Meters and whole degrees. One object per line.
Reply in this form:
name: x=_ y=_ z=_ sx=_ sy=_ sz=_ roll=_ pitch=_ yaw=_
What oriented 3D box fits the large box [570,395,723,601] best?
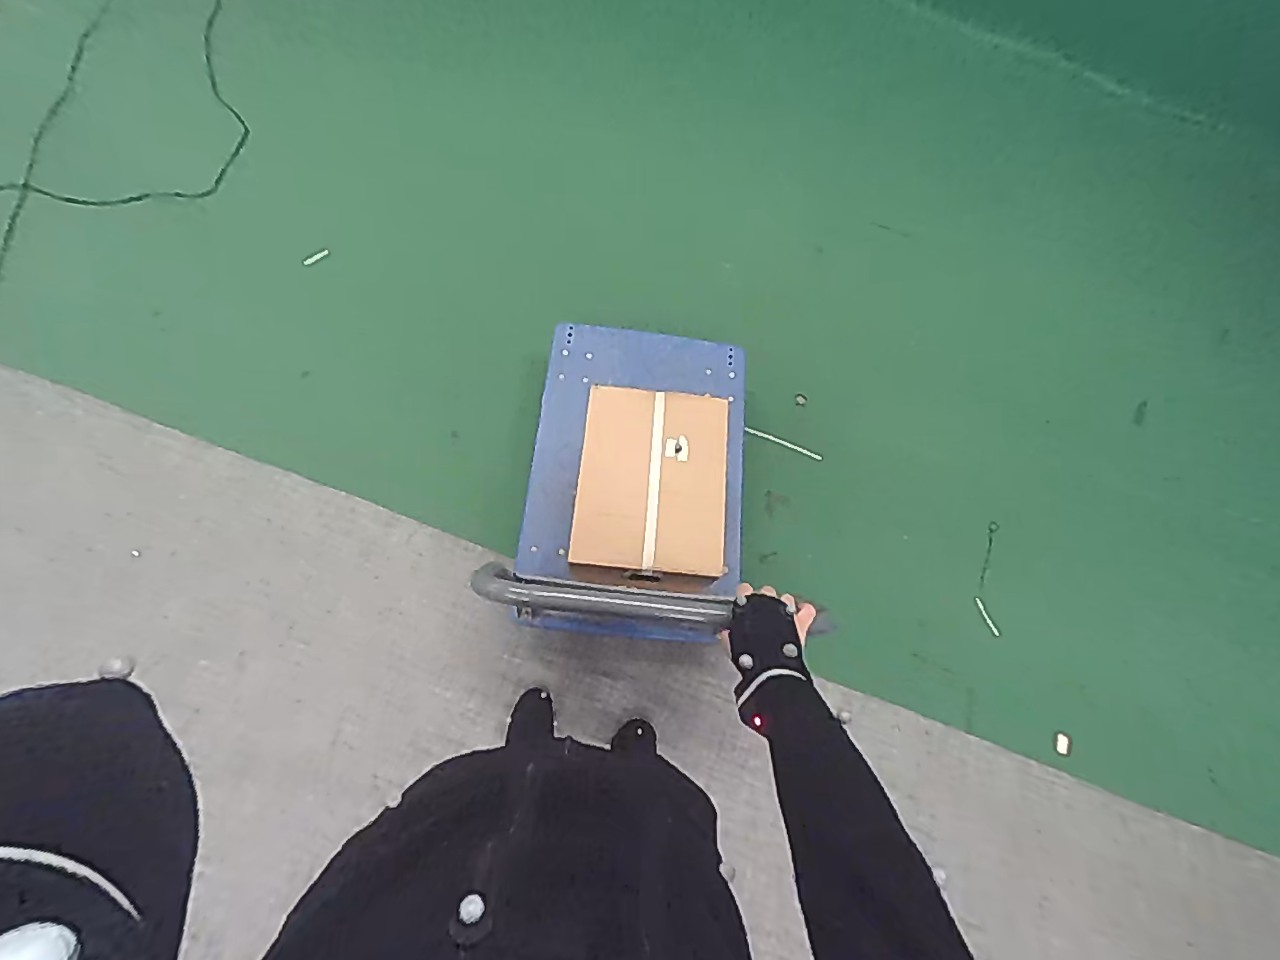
large box: x=0.013 y=0.060 z=1.291 sx=0.320 sy=0.320 sz=0.408 roll=6 pitch=69 yaw=-3
